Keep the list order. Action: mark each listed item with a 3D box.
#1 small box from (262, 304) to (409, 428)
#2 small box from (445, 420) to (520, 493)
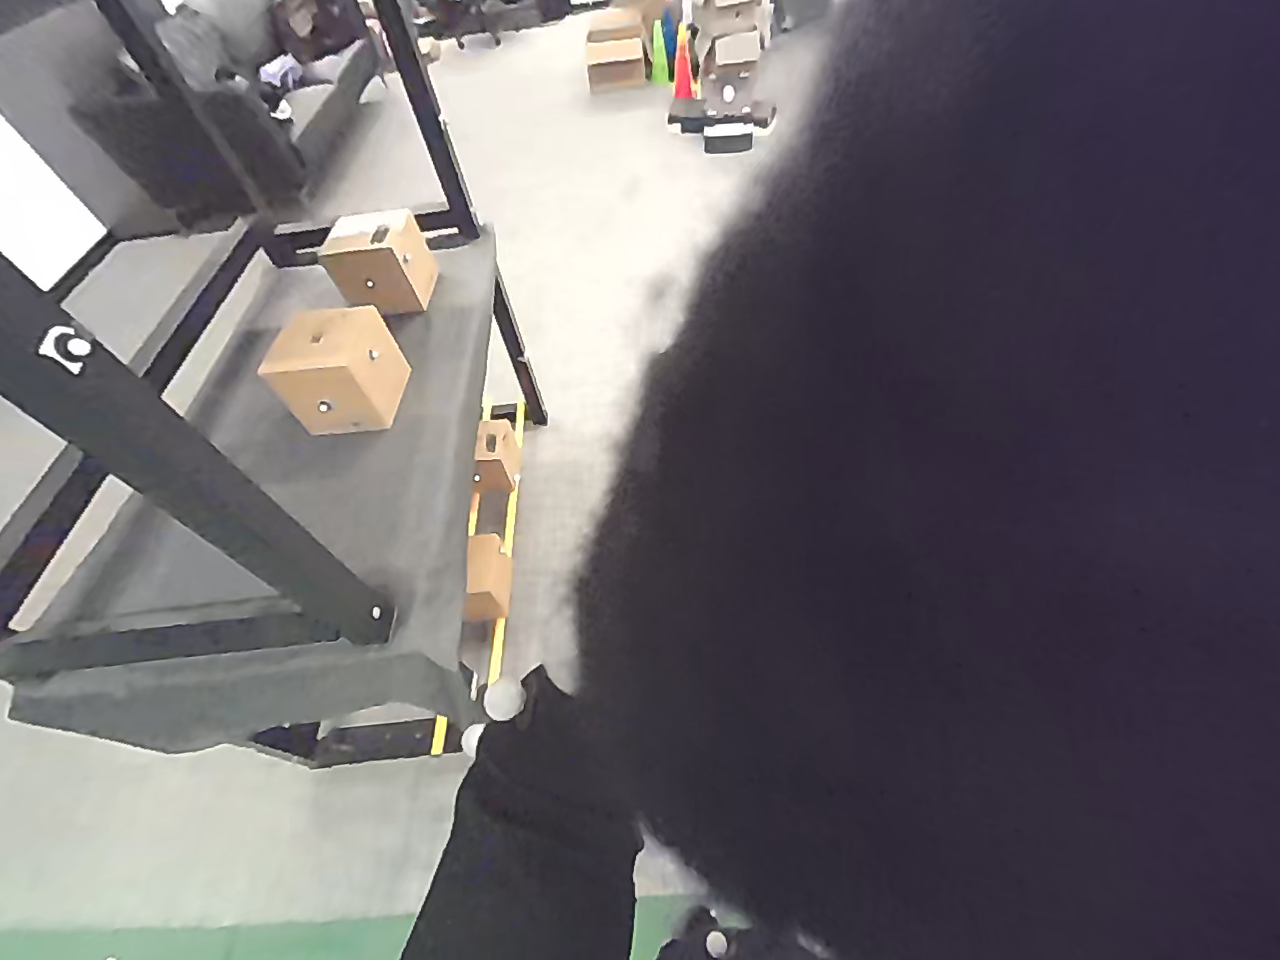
[{"bbox_3d":[-0.576,-0.215,1.053,0.168,0.176,0.179,-4,53,4],"label":"small box"},{"bbox_3d":[-0.491,-0.073,1.720,0.179,0.176,0.168,-3,53,4],"label":"small box"}]
